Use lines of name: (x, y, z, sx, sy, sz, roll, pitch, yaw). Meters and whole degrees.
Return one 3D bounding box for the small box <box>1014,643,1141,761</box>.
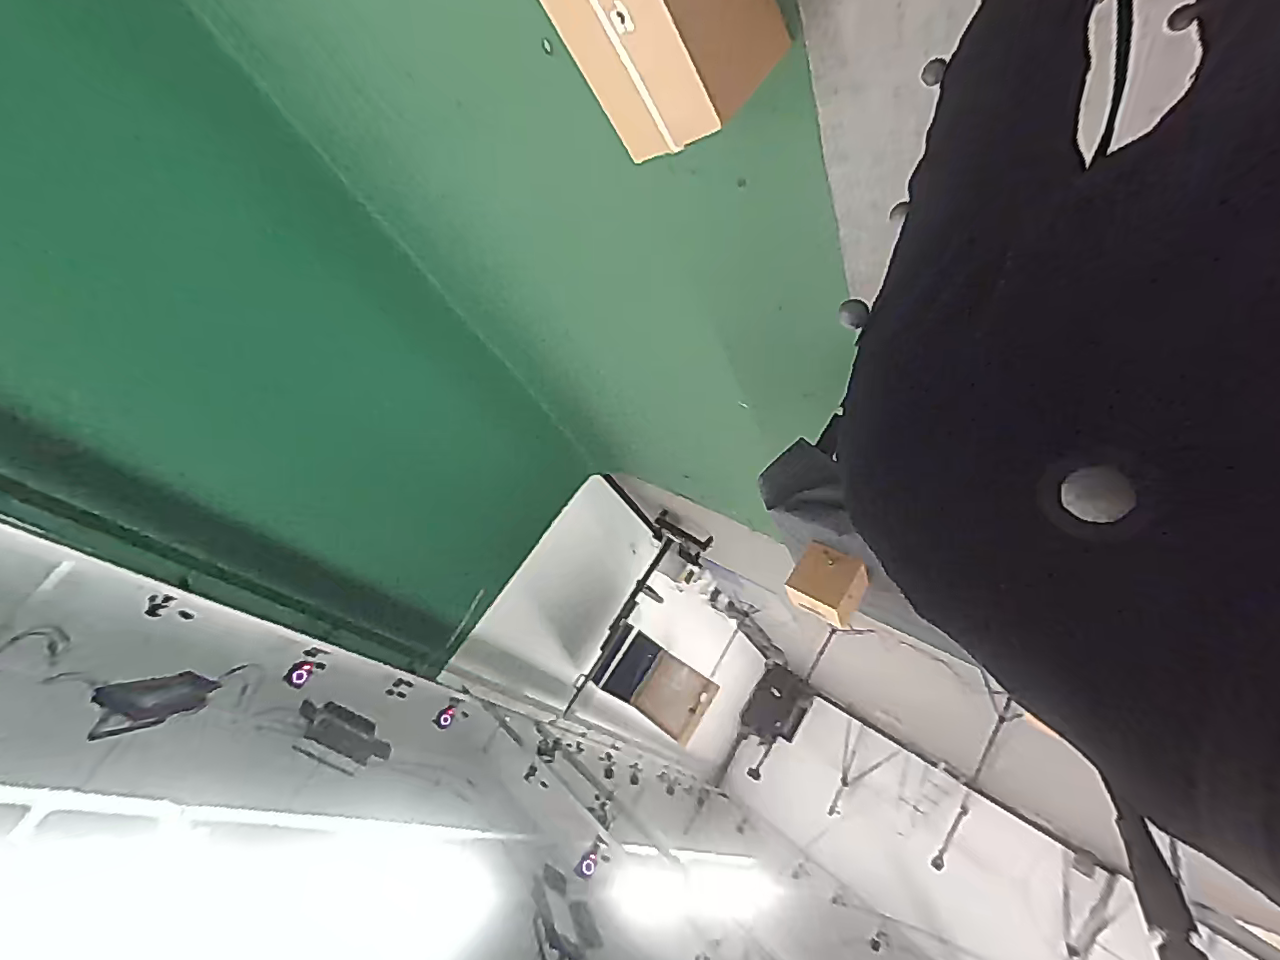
small box: (0.993, 0.501, 1.233, 0.179, 0.176, 0.168, 25, 161, 39)
